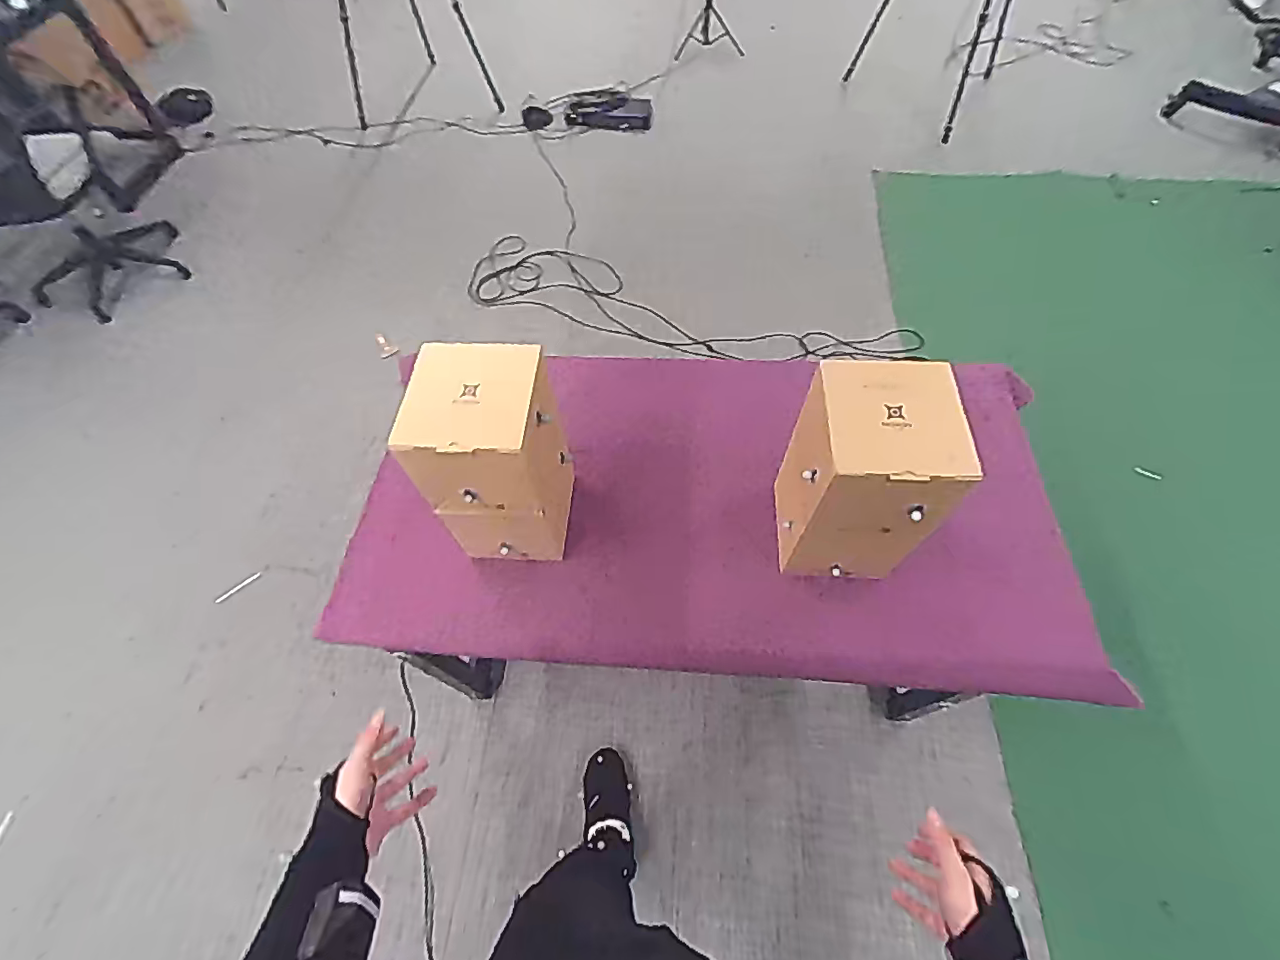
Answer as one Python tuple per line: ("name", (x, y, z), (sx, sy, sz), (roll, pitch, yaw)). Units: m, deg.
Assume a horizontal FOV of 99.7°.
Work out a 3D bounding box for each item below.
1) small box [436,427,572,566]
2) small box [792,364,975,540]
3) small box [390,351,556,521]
("small box", (-0.212, 0.027, 0.900), (0.168, 0.176, 0.179), (2, 58, 4))
("small box", (0.304, -0.032, 0.719), (0.168, 0.176, 0.179), (2, 59, 4))
("small box", (-0.218, -0.060, 0.763), (0.168, 0.176, 0.179), (1, 59, 3))
